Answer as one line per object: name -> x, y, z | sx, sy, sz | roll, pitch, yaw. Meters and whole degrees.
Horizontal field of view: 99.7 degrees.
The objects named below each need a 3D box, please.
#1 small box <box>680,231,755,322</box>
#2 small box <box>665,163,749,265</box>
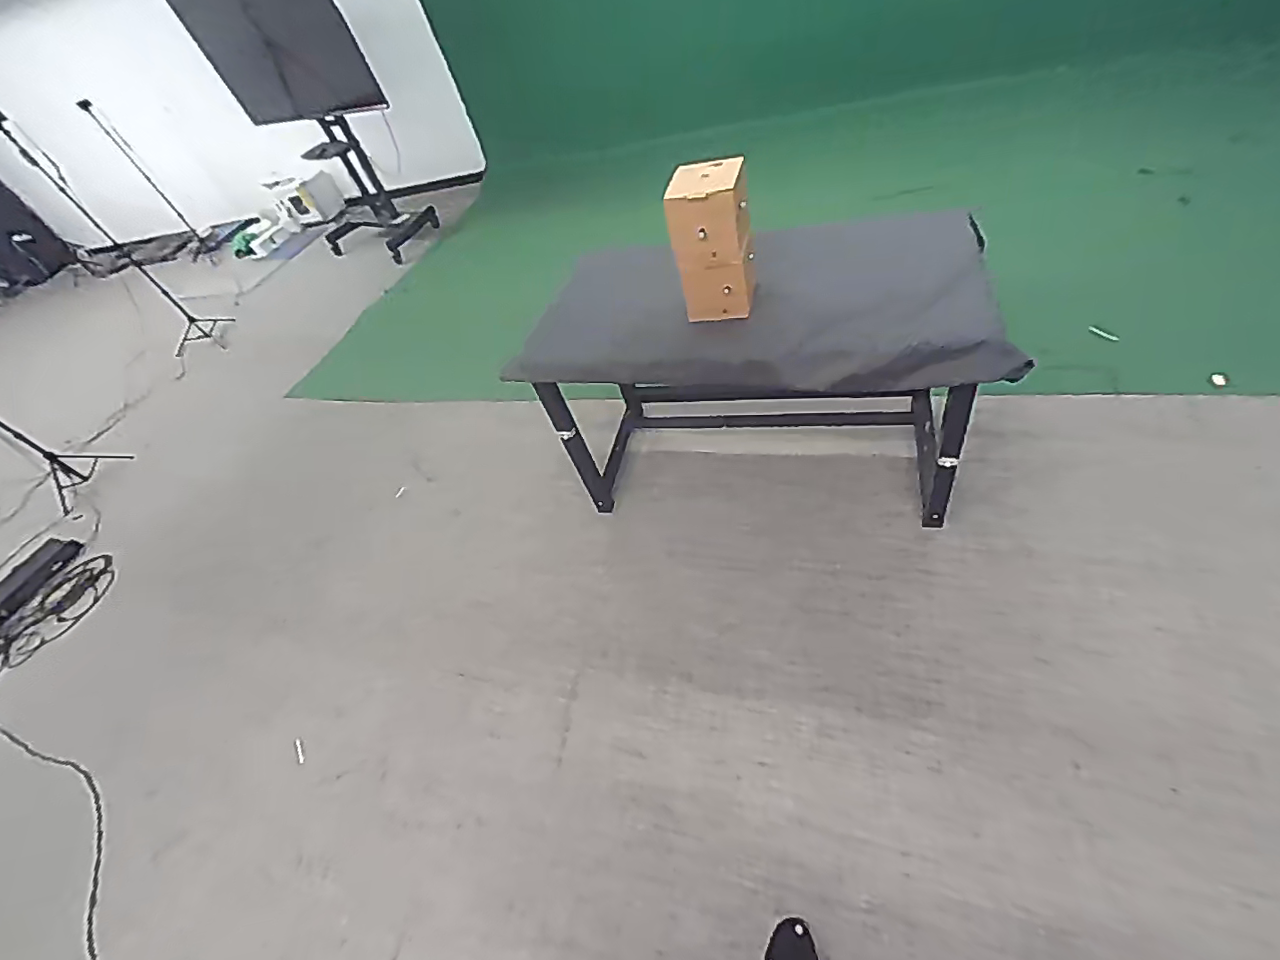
small box -> 0.216, -0.539, 1.452 | 0.168, 0.176, 0.179 | 2, 50, 19
small box -> 0.174, -0.648, 1.337 | 0.168, 0.176, 0.179 | 3, 52, 20
